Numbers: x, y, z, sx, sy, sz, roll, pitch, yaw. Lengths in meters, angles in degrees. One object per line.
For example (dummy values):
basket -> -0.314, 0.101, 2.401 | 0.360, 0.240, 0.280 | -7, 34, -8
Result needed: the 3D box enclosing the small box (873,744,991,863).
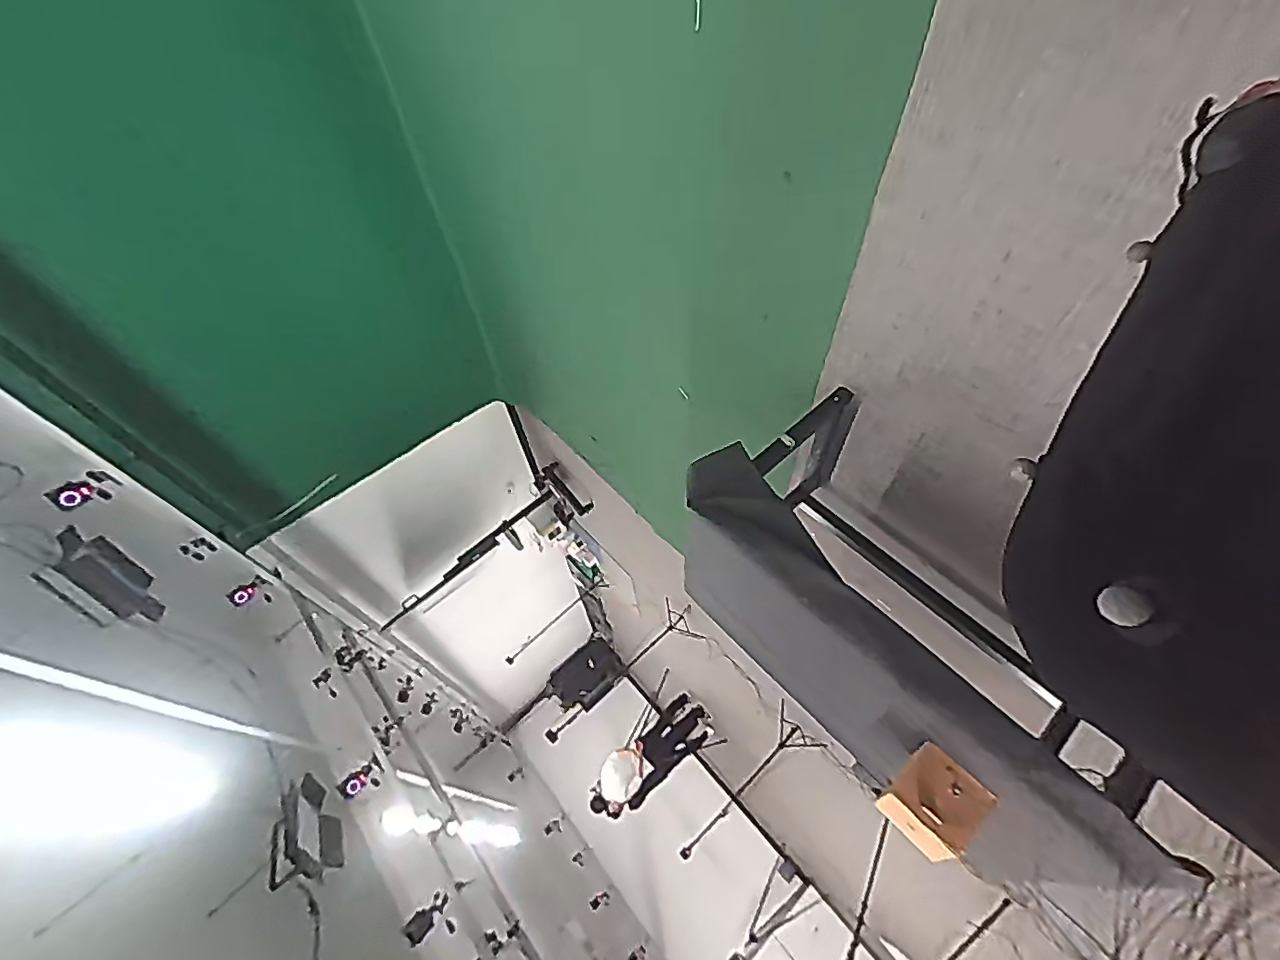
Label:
small box -> 0.693, 0.769, 1.288 | 0.168, 0.176, 0.179 | 40, 156, 32
